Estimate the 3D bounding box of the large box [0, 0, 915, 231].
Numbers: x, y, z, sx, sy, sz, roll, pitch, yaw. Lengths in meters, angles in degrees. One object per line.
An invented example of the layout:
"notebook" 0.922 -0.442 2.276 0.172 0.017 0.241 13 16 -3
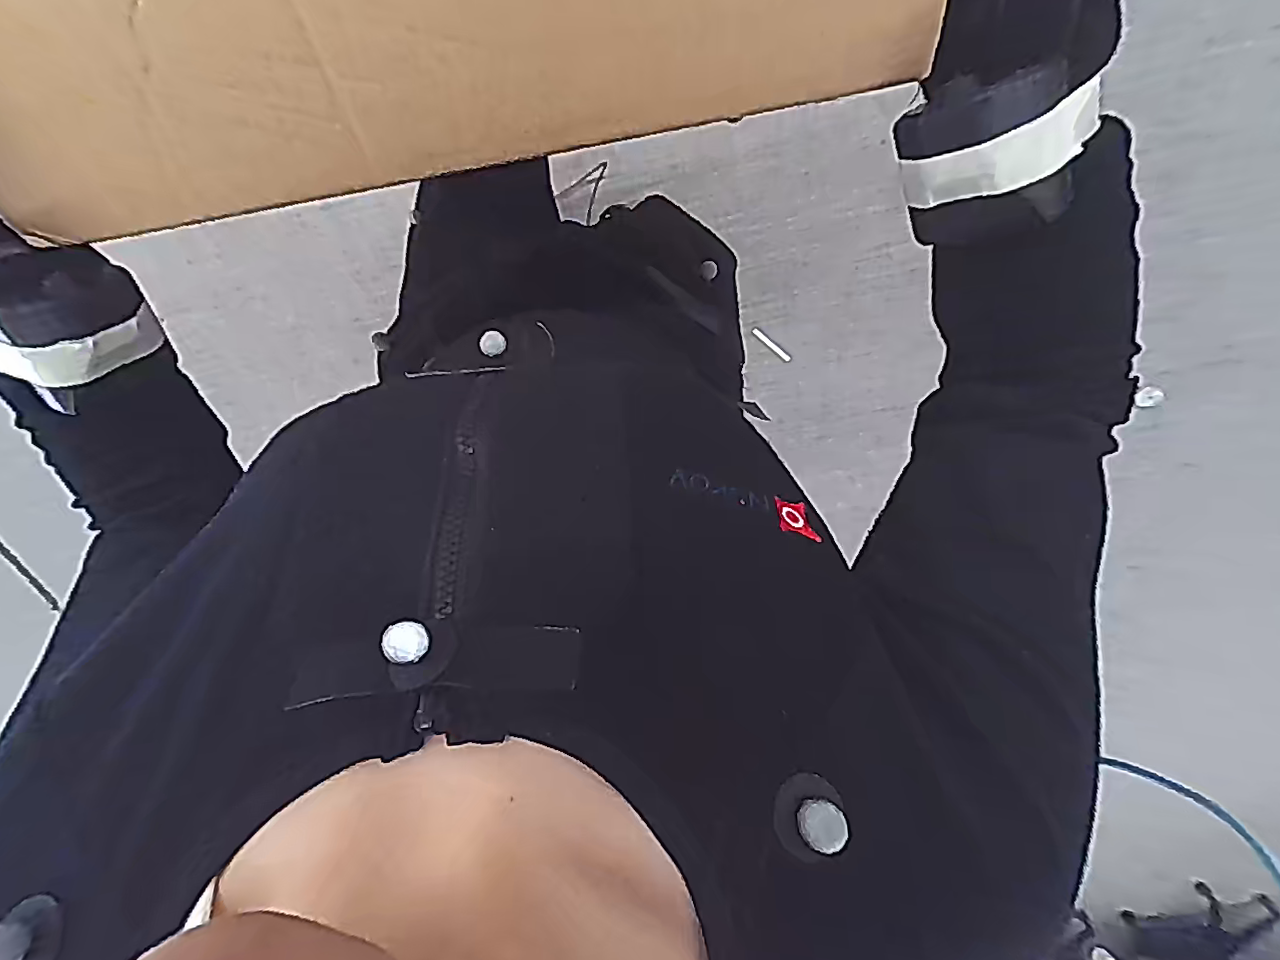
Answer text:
"large box" -0.114 -0.360 0.231 0.408 0.320 0.320 -9 137 3
